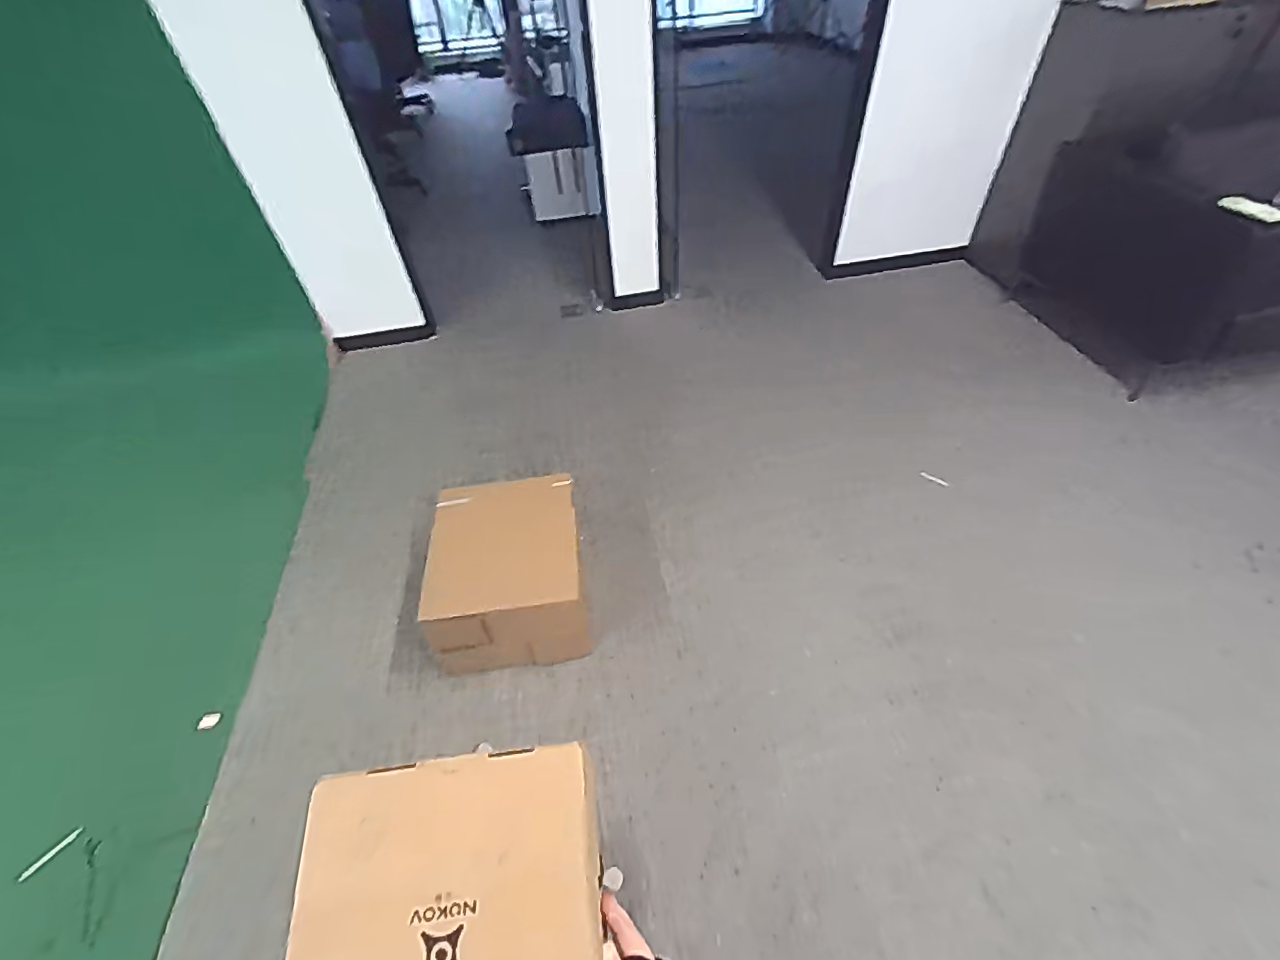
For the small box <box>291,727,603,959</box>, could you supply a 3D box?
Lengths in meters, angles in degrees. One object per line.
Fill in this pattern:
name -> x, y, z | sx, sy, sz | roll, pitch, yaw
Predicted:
small box -> -0.113, 0.285, 0.374 | 0.168, 0.176, 0.179 | -5, 59, -6
